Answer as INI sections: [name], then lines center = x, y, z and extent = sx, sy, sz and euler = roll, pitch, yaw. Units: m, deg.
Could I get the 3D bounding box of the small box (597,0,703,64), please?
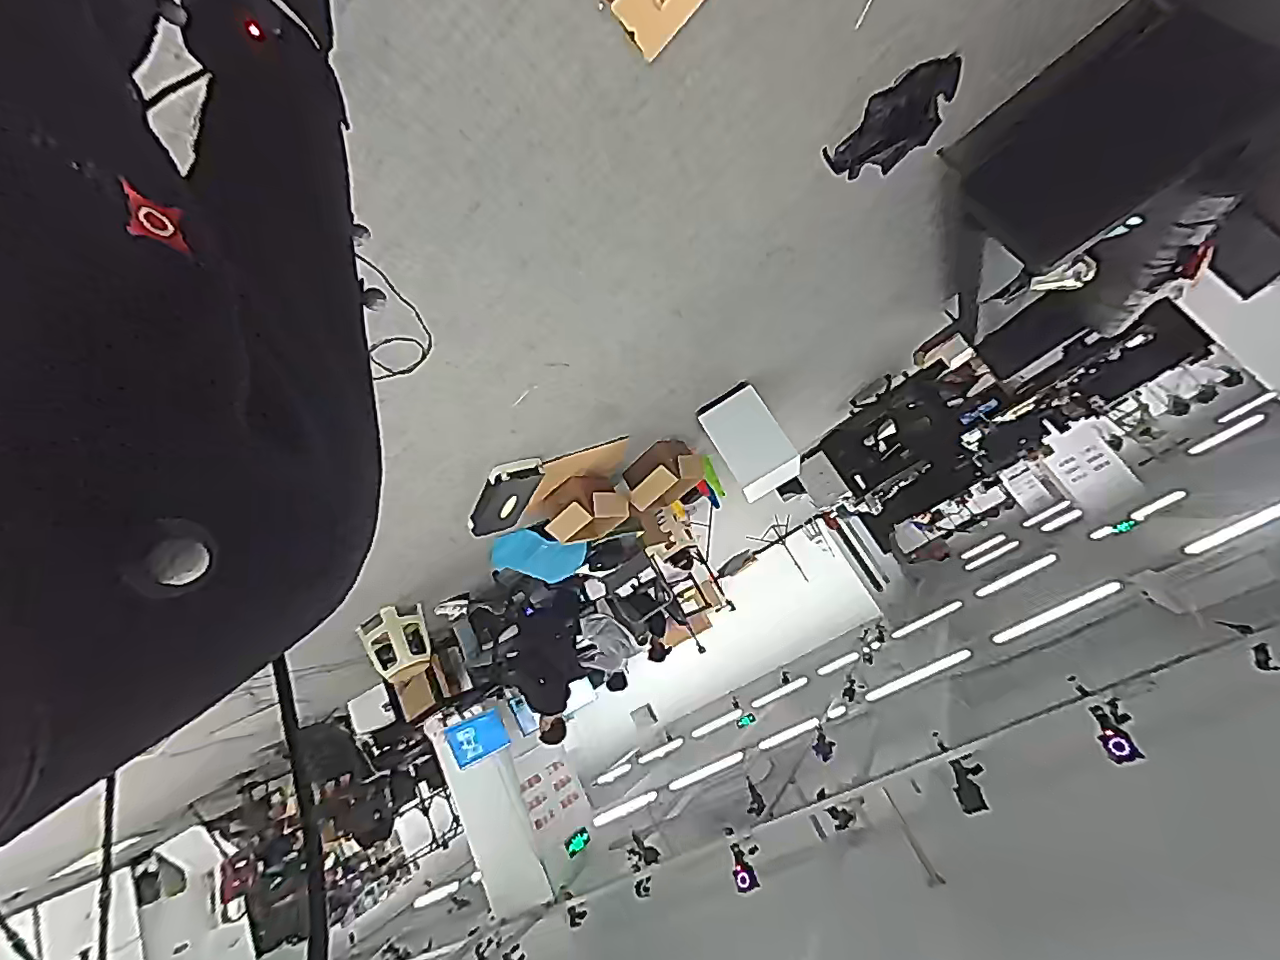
[small box]
center = 0.001, -1.034, 1.113
extent = 0.179, 0.176, 0.168
euler = -37, 161, 23
